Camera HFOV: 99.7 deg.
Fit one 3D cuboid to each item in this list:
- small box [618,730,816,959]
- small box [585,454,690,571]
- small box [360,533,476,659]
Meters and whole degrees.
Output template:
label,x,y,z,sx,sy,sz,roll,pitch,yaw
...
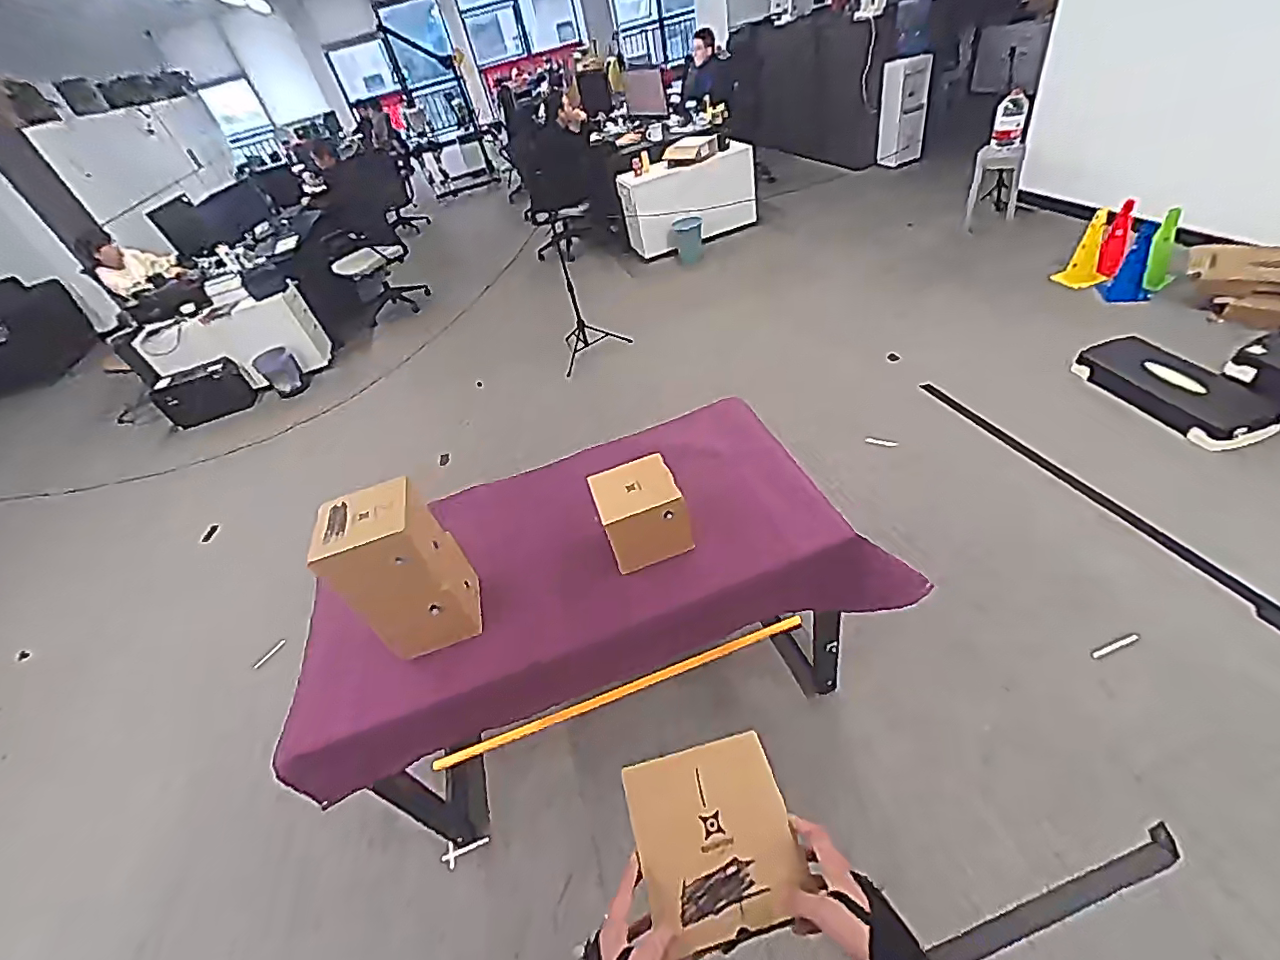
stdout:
label,x,y,z,sx,sy,sz,roll,pitch,yaw
small box,0.080,0.422,0.624,0.168,0.176,0.179,-13,48,-7
small box,-0.004,0.075,1.201,0.179,0.176,0.168,-20,41,-5
small box,-0.458,0.247,1.146,0.179,0.176,0.168,-19,41,-4
